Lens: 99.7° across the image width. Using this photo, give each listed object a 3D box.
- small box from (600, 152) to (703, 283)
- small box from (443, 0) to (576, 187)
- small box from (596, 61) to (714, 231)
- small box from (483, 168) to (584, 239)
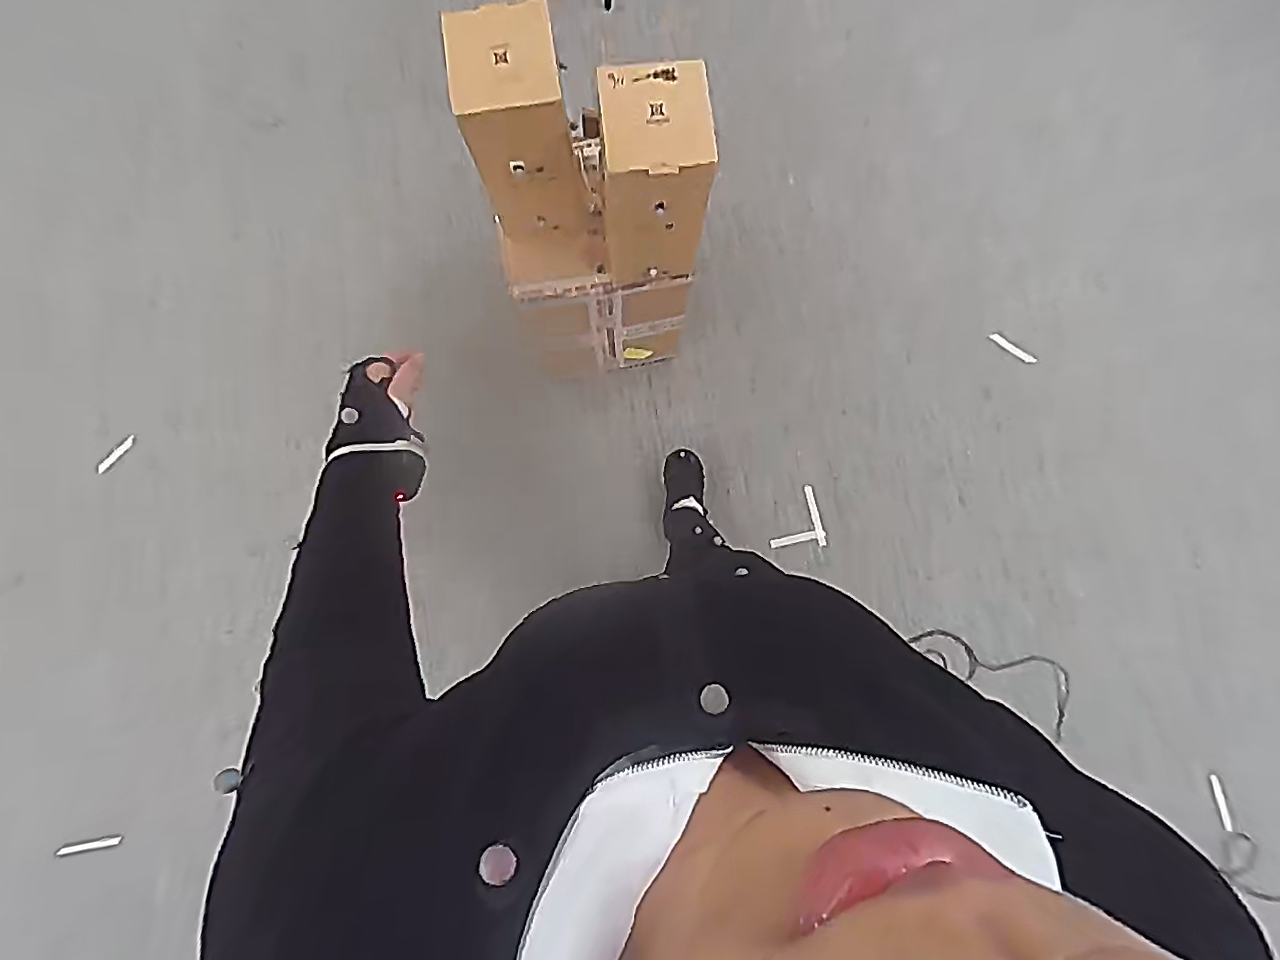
[{"bbox_3d":[0.016,-0.509,1.044,0.168,0.176,0.179,-10,84,-3],"label":"small box"},{"bbox_3d":[-0.206,-0.623,0.890,0.168,0.176,0.179,-10,84,0],"label":"small box"},{"bbox_3d":[0.021,-0.528,0.882,0.168,0.176,0.179,-6,84,-2],"label":"small box"},{"bbox_3d":[-0.208,-0.604,1.052,0.168,0.176,0.179,-9,83,-1],"label":"small box"}]
